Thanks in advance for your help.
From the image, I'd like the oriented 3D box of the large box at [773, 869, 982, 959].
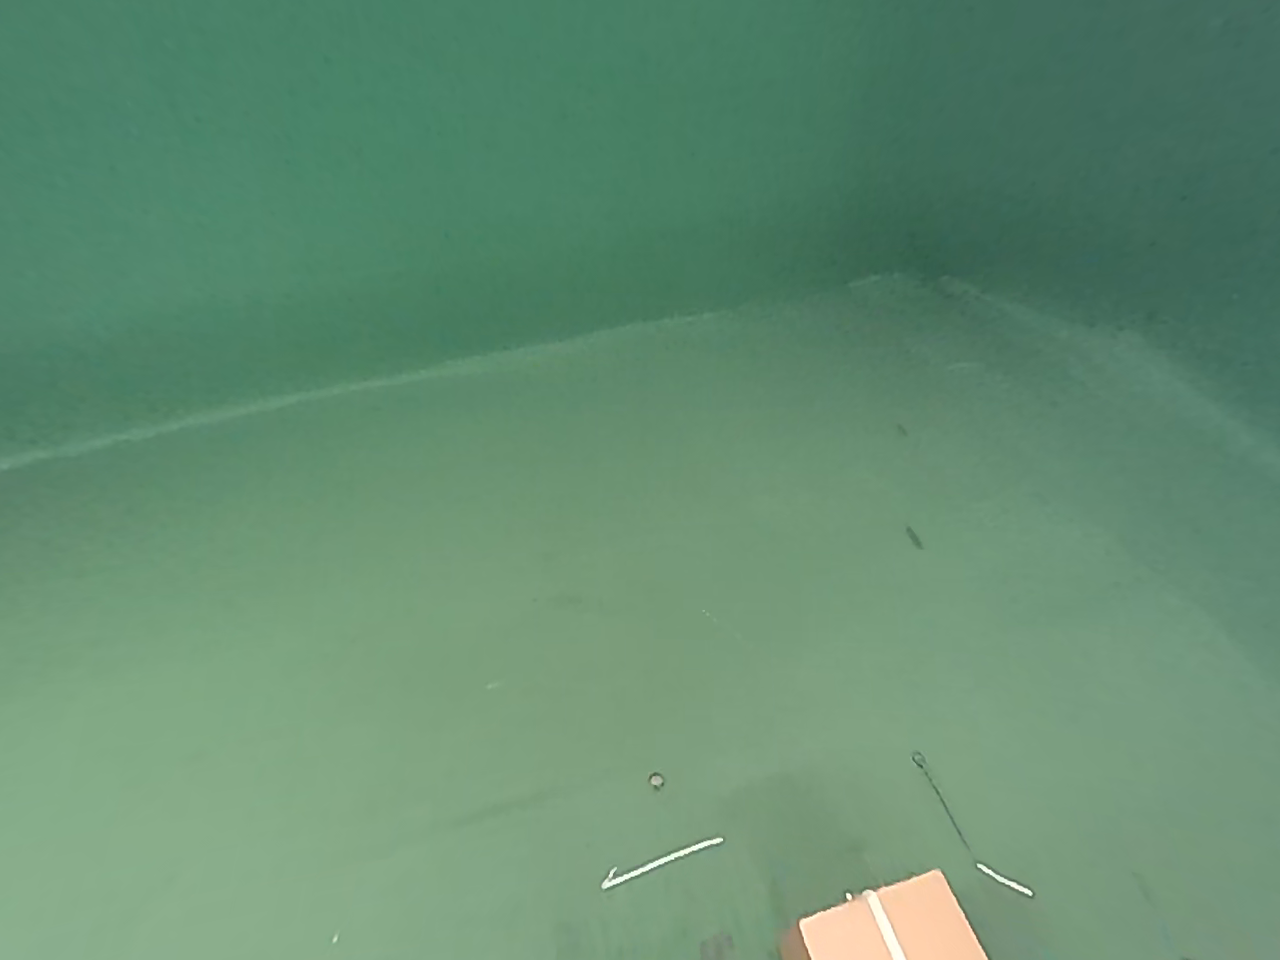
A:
[{"bbox_3d":[0.501,1.055,1.043,0.320,0.320,0.408,-13,48,-9],"label":"large box"}]
